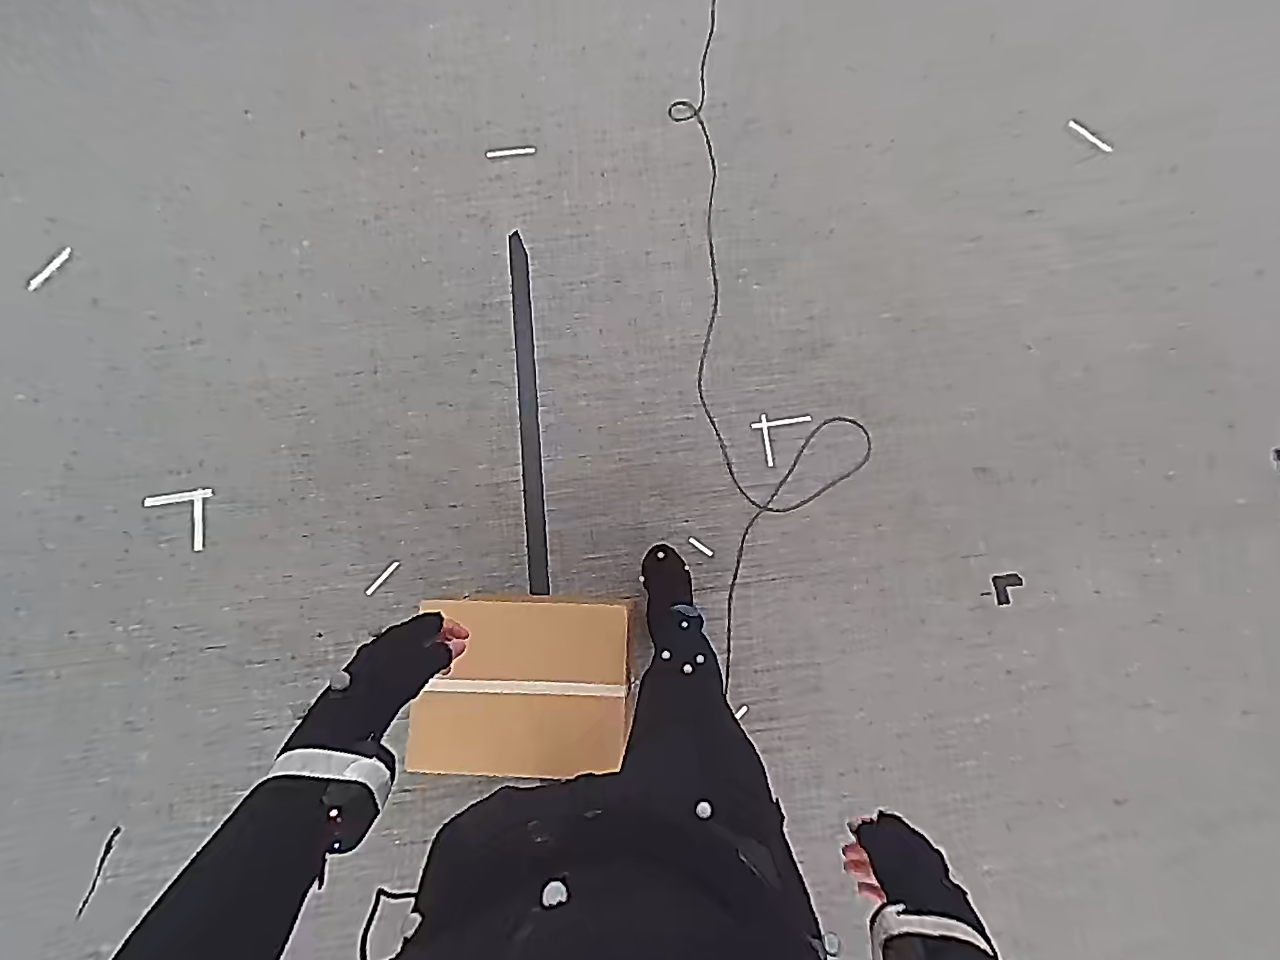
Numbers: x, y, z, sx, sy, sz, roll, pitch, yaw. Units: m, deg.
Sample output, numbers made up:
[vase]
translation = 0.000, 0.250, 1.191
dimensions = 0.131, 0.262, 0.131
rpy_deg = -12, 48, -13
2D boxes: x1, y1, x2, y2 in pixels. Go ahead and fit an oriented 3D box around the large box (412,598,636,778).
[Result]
[large box]
translation = -0.217, 0.414, 1.155
dimensions = 0.408, 0.320, 0.320
rpy_deg = 1, 81, 2
